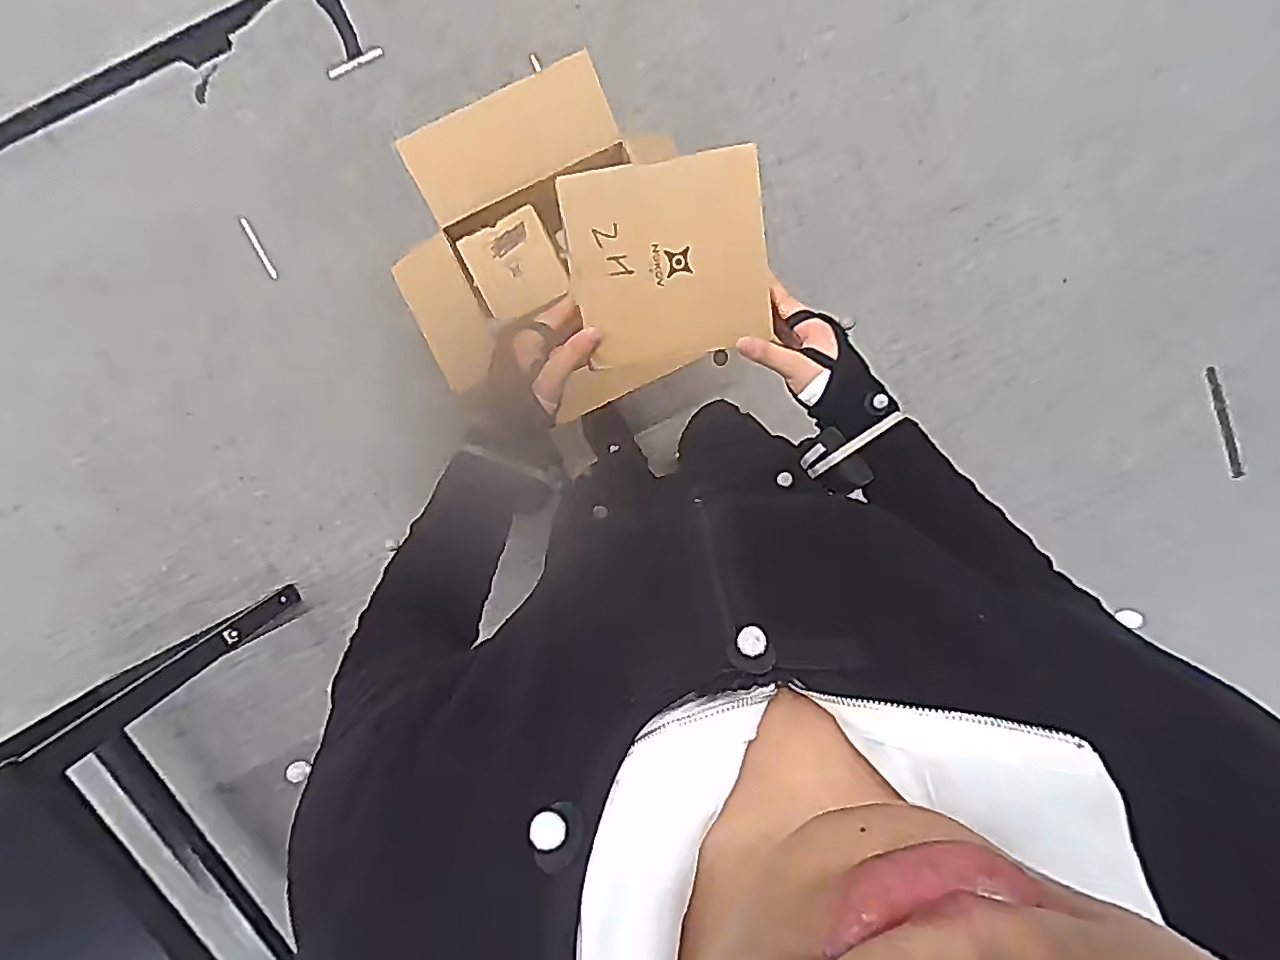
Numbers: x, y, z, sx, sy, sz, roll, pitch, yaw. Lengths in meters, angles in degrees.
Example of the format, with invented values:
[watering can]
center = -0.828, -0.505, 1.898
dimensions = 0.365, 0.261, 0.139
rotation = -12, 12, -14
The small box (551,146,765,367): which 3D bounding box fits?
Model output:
[small box]
center = 0.017, -0.219, 0.559
dimensions = 0.179, 0.176, 0.168
rotation = -9, 106, 2
